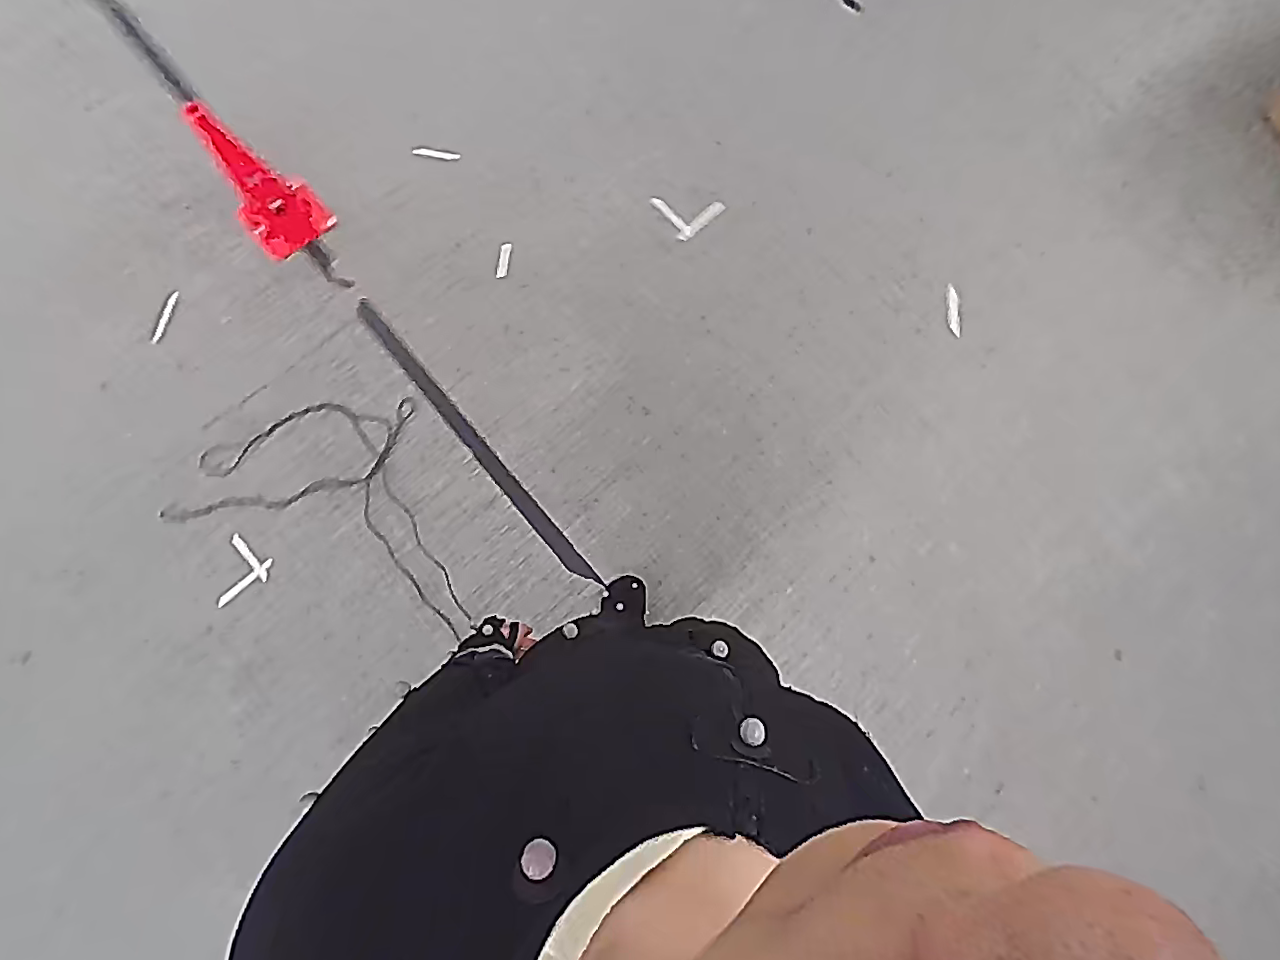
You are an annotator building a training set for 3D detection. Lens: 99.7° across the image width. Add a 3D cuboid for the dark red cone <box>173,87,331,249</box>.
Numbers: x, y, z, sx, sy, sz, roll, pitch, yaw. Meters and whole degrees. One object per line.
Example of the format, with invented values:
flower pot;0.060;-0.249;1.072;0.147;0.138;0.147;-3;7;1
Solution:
dark red cone;-0.964;-0.773;1.314;0.201;0.394;0.202;-41;85;-9
